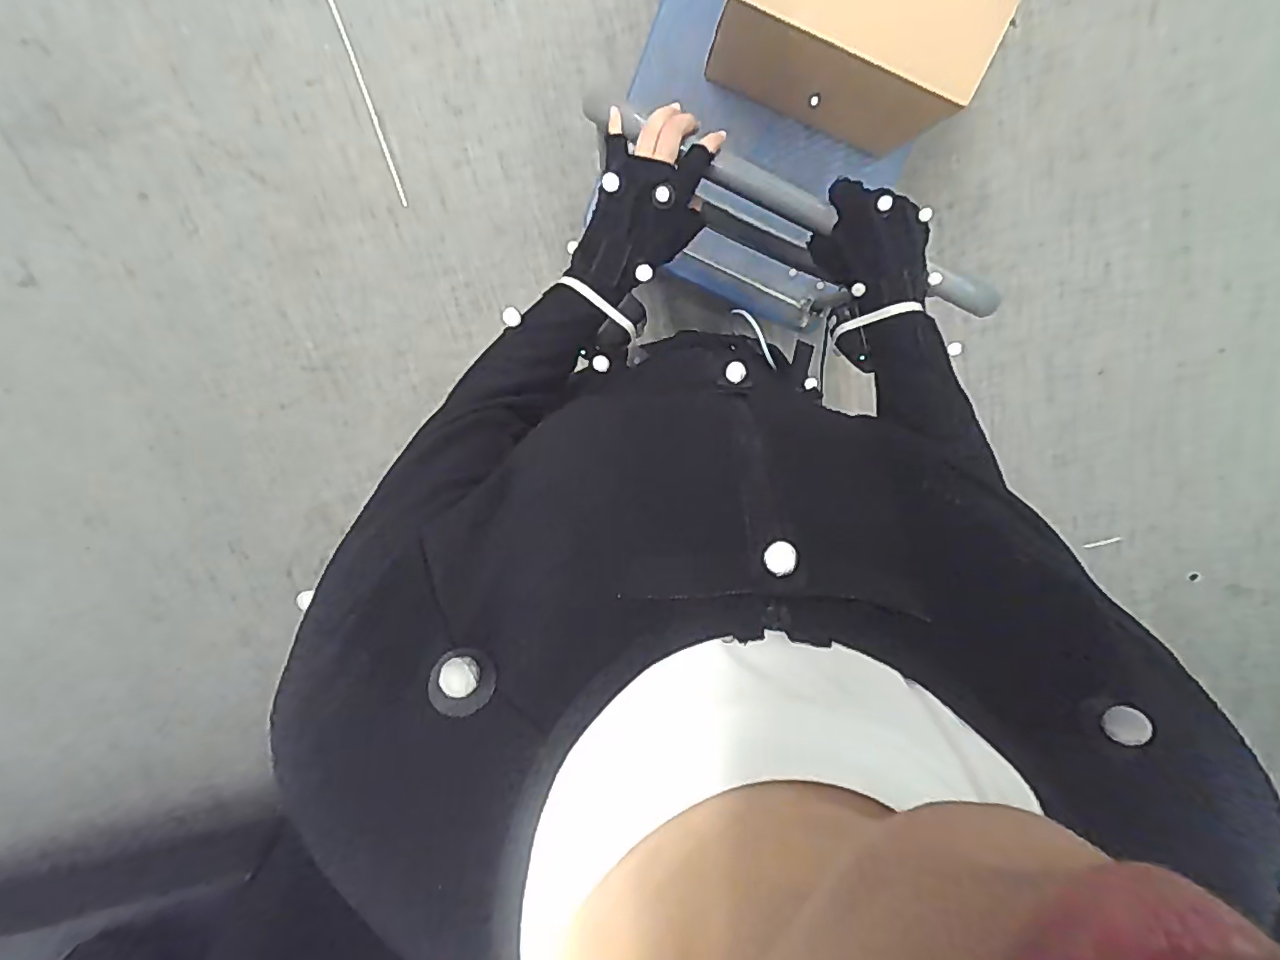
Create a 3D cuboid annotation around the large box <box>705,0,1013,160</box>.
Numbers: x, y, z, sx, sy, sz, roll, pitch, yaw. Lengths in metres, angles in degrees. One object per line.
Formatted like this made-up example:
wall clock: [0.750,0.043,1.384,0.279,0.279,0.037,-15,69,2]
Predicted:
large box: [0.363,-0.808,0.918,0.408,0.320,0.320,19,106,-6]
